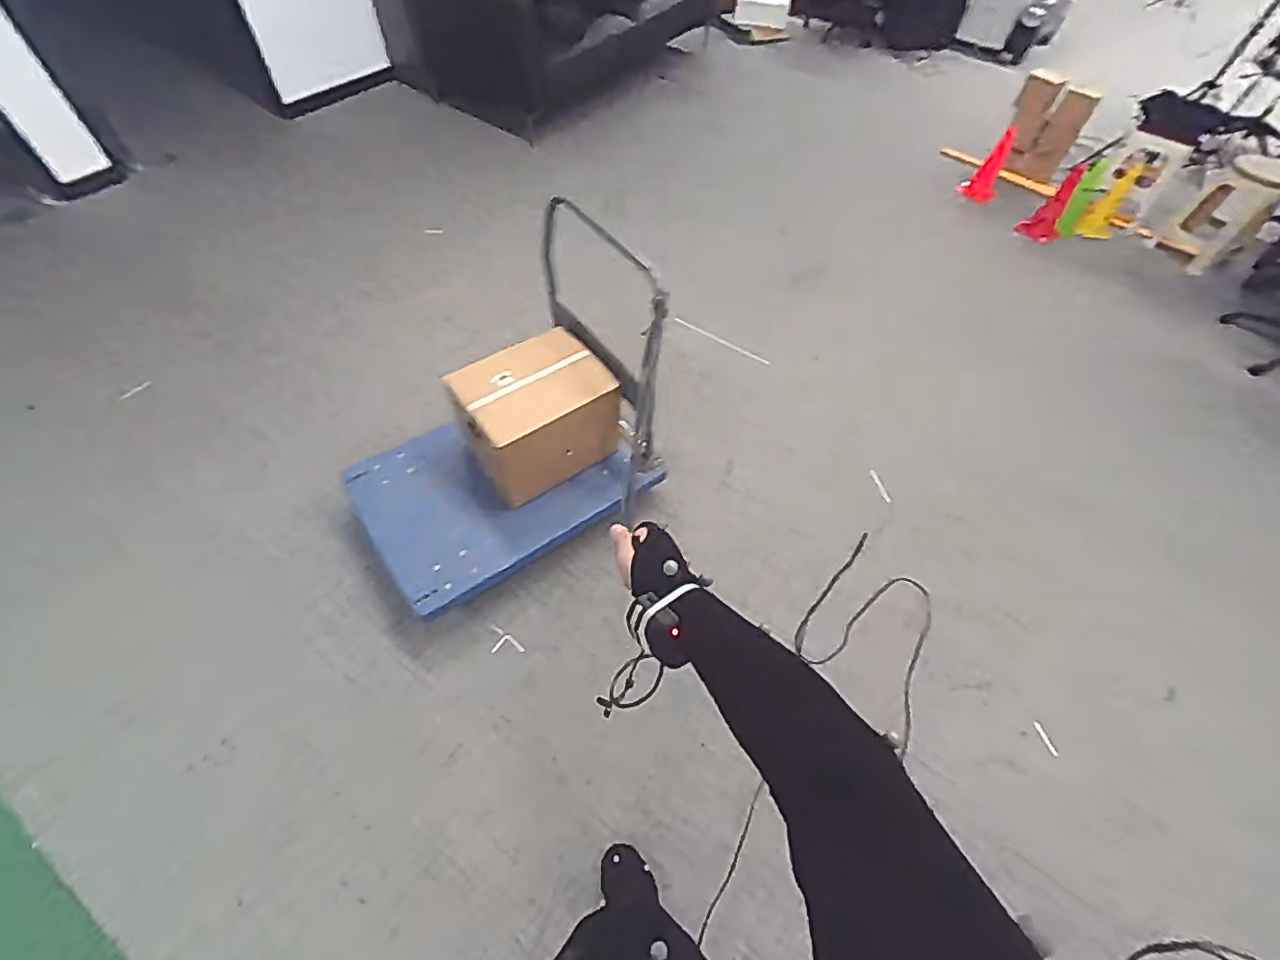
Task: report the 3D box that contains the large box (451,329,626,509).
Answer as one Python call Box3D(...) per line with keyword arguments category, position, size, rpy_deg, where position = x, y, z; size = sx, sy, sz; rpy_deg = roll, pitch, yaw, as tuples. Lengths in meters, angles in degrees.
Box3D(category="large box", position=(-0.291, -0.185, 1.646), size=(0.408, 0.320, 0.320), rpy_deg=(-32, 62, -22))
